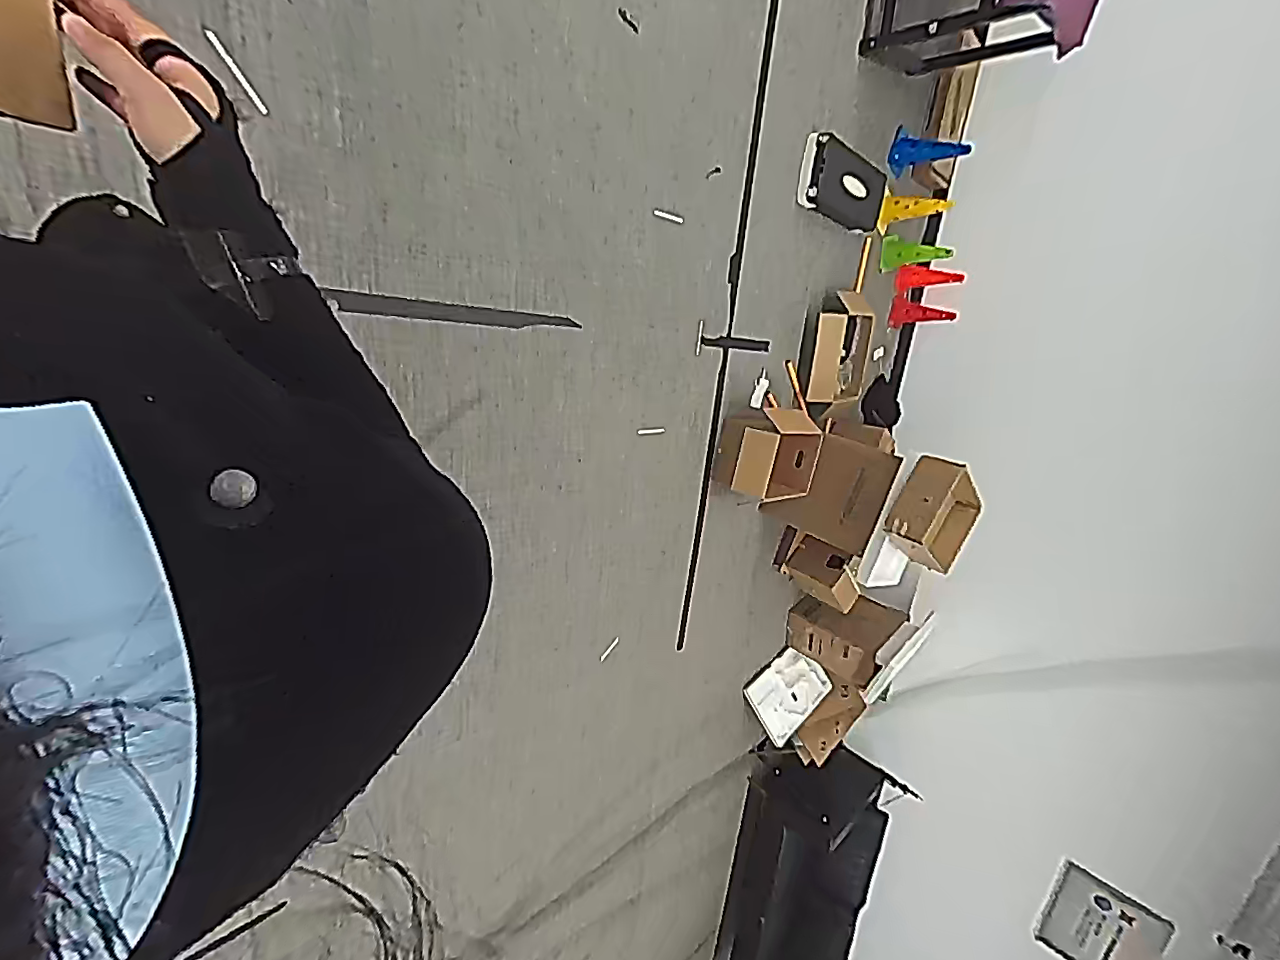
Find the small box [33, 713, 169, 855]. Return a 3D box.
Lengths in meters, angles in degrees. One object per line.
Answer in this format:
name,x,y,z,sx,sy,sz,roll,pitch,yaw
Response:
small box,-1.181,0.659,1.193,0.168,0.176,0.179,-24,123,-39
